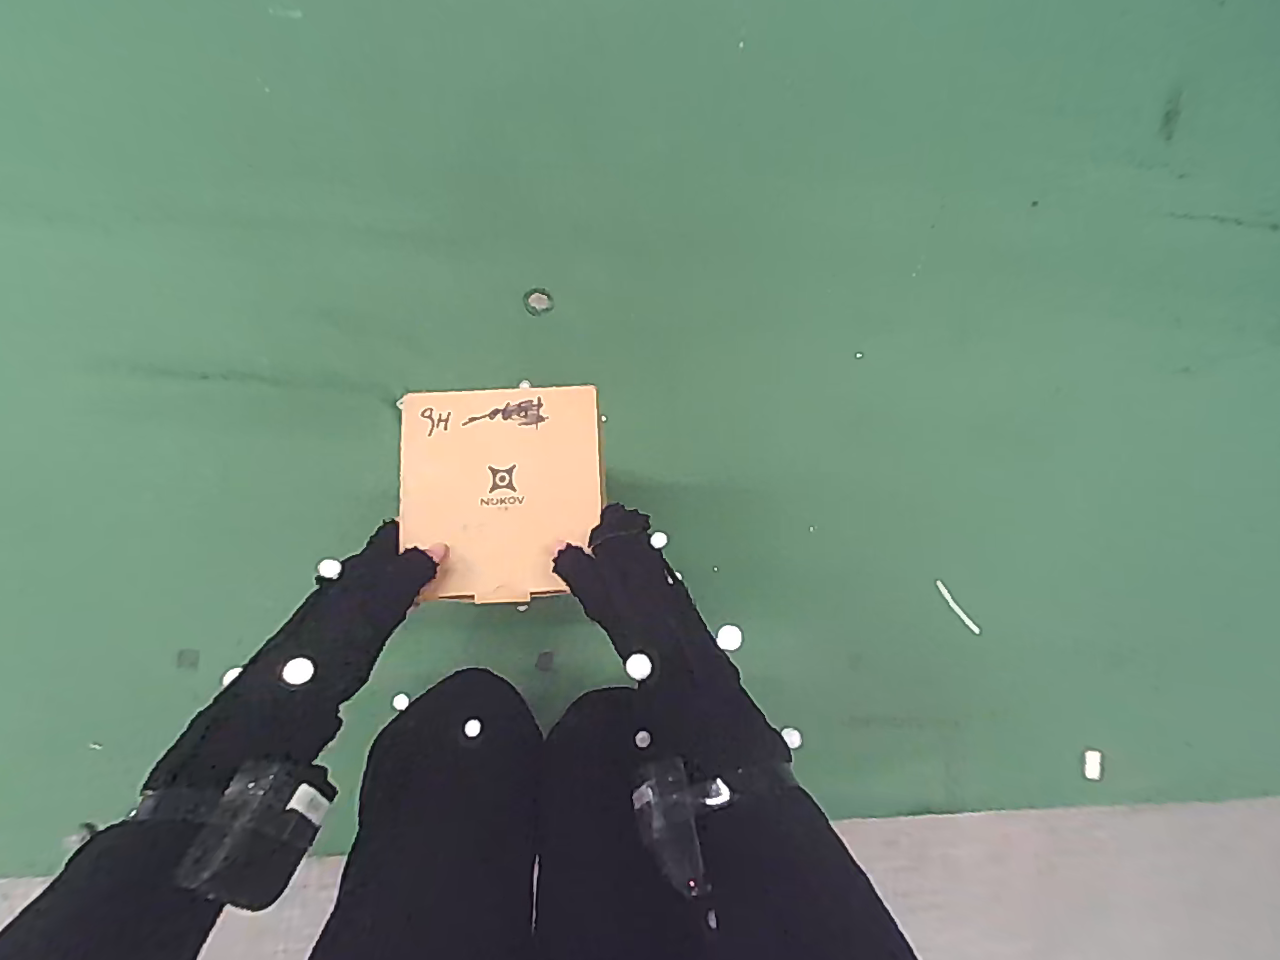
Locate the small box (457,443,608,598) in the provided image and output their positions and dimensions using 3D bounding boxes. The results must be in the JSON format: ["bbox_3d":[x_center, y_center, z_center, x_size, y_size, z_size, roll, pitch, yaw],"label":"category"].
[{"bbox_3d":[-0.142,0.055,0.743,0.168,0.176,0.179,8,85,-9],"label":"small box"}]
